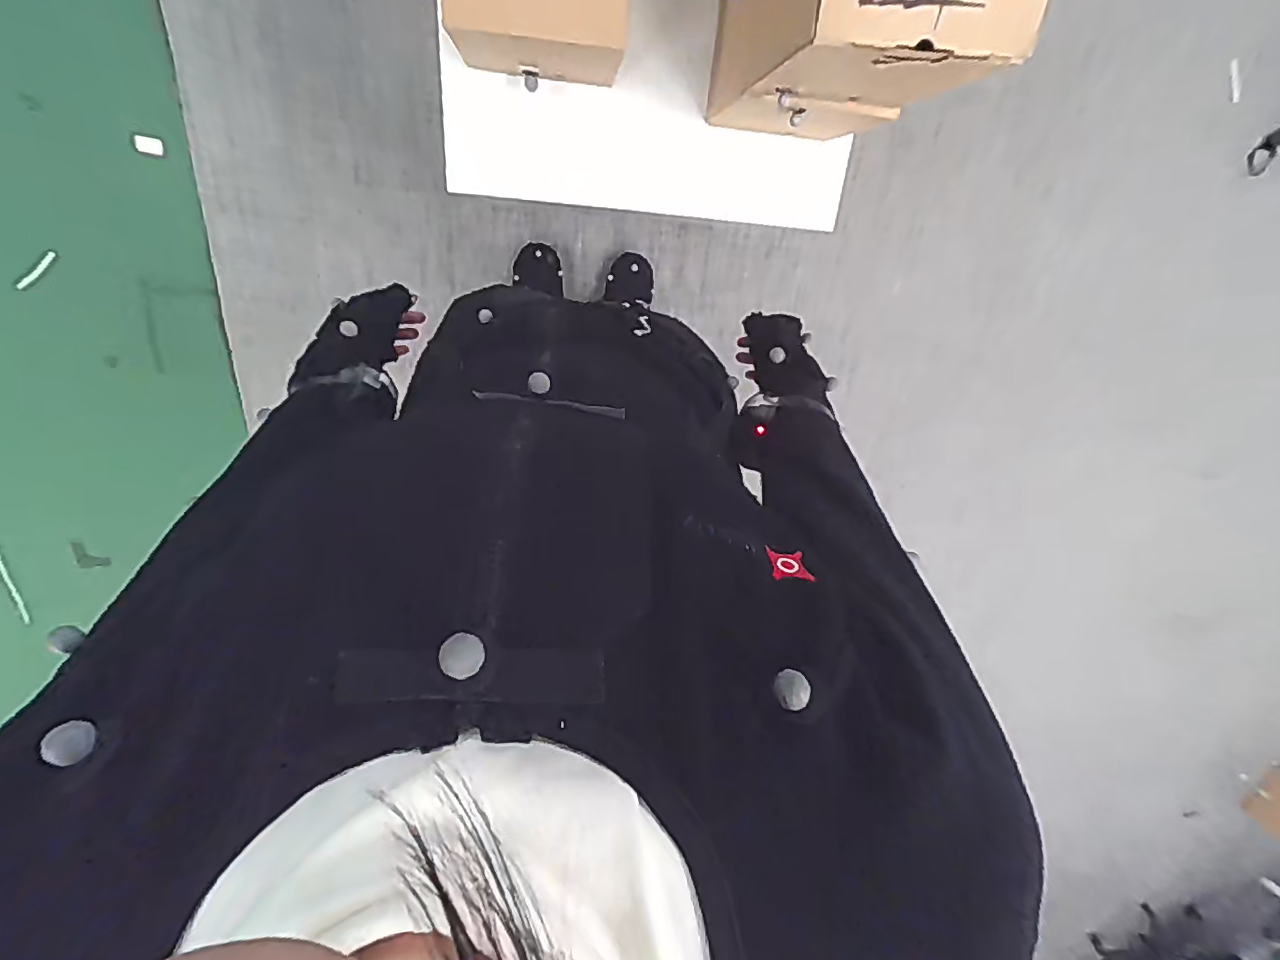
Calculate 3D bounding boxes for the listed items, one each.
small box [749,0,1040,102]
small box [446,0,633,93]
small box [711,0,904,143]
[{"bbox_3d":[0.191,-0.413,0.418,0.168,0.176,0.179,0,115,-7],"label":"small box"},{"bbox_3d":[-0.094,-0.504,0.525,0.168,0.176,0.179,0,117,-7],"label":"small box"},{"bbox_3d":[0.179,-0.477,0.570,0.168,0.176,0.179,2,114,-7],"label":"small box"}]
